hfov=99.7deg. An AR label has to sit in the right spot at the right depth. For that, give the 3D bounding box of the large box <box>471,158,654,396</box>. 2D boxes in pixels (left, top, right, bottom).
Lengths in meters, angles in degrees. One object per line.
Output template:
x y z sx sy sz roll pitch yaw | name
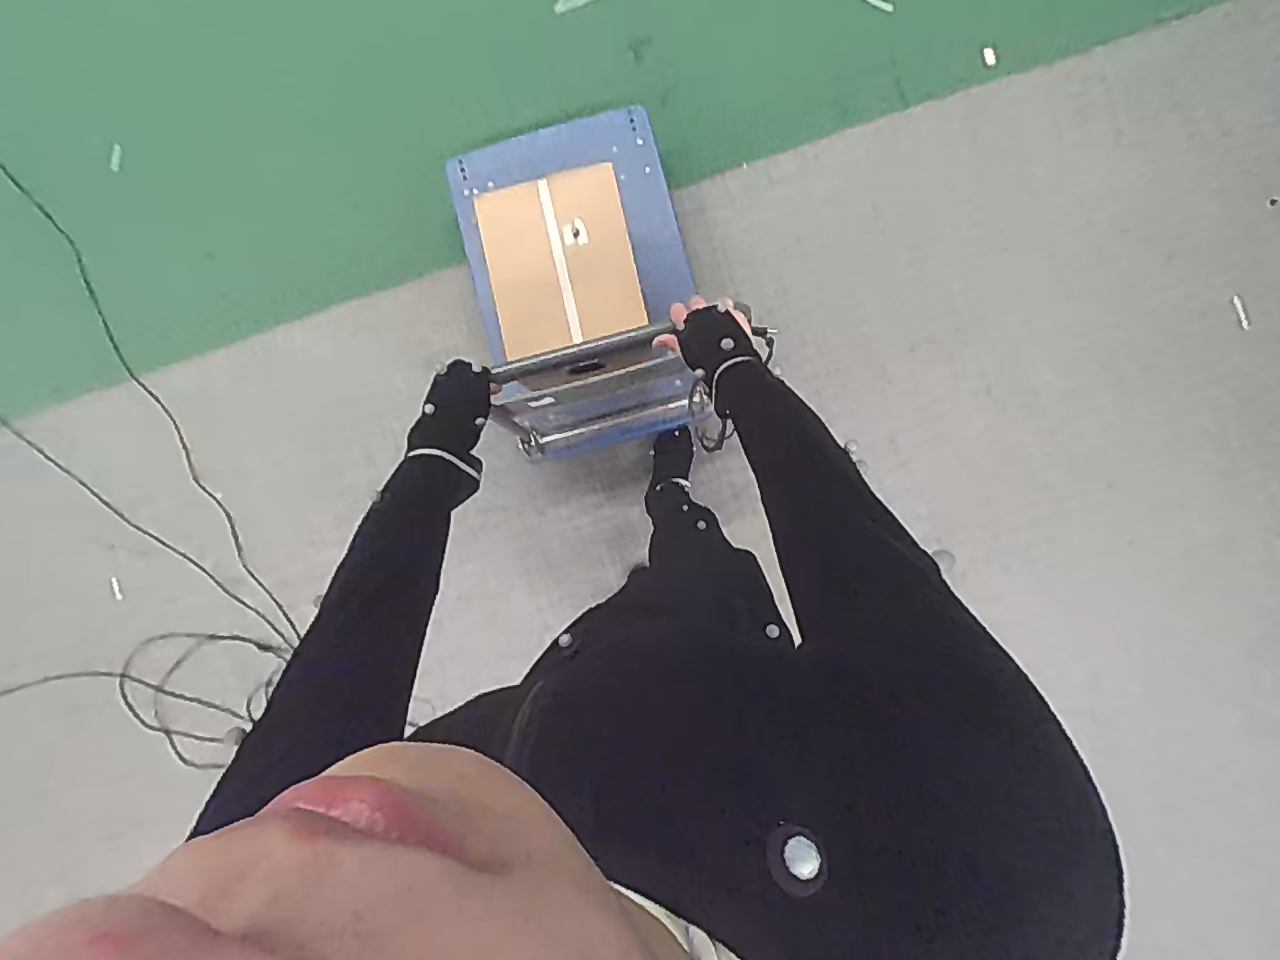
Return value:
-0.161 -0.451 1.286 0.320 0.320 0.408 -12 88 2 | large box
